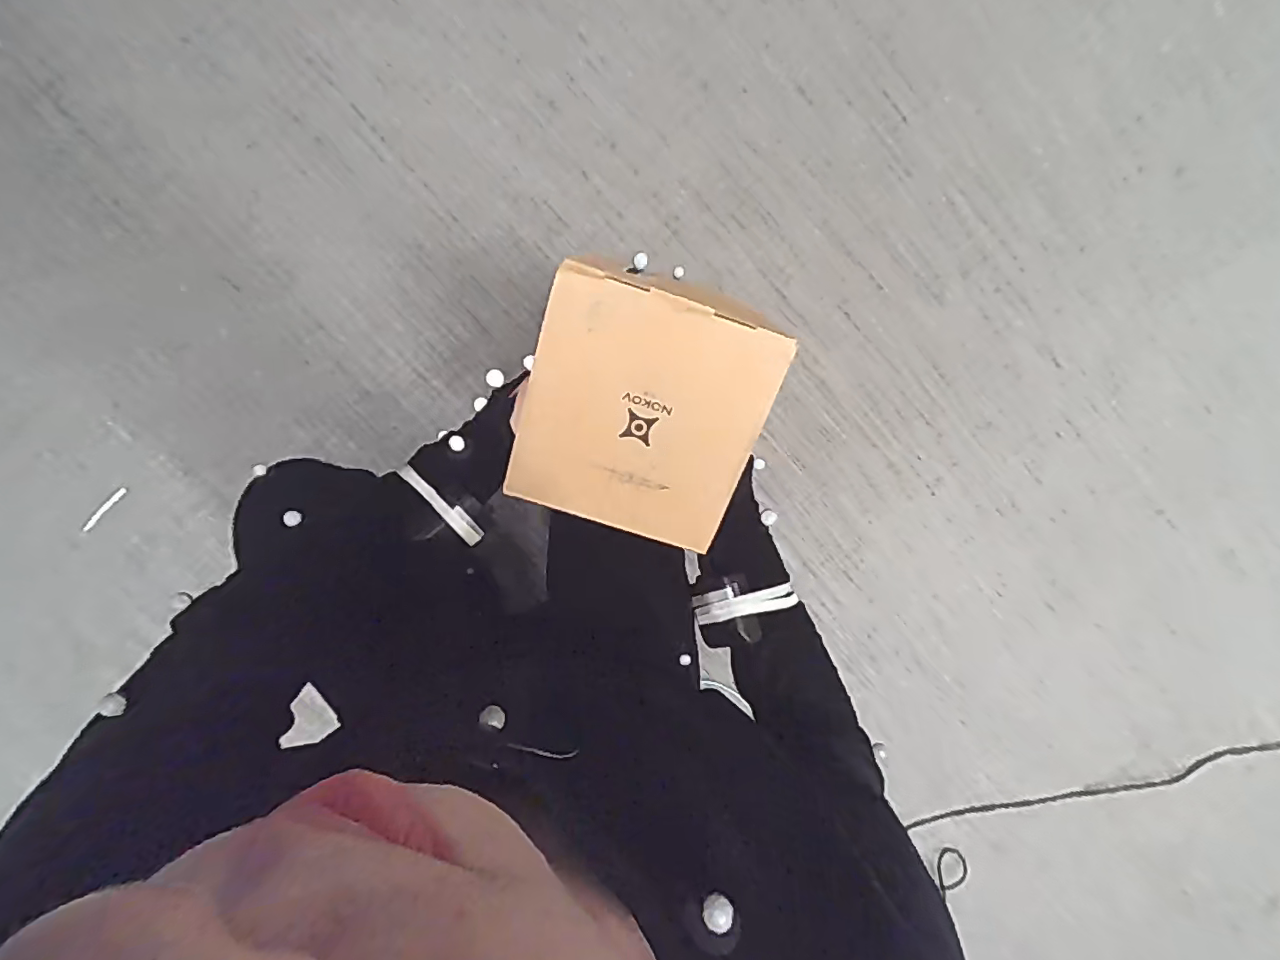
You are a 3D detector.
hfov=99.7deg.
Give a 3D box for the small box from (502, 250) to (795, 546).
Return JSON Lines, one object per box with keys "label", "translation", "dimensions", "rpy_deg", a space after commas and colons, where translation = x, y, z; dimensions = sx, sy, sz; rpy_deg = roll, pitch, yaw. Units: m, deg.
{"label": "small box", "translation": [0.002, -0.079, 0.452], "dimensions": [0.168, 0.176, 0.179], "rpy_deg": [18, 115, -5]}
